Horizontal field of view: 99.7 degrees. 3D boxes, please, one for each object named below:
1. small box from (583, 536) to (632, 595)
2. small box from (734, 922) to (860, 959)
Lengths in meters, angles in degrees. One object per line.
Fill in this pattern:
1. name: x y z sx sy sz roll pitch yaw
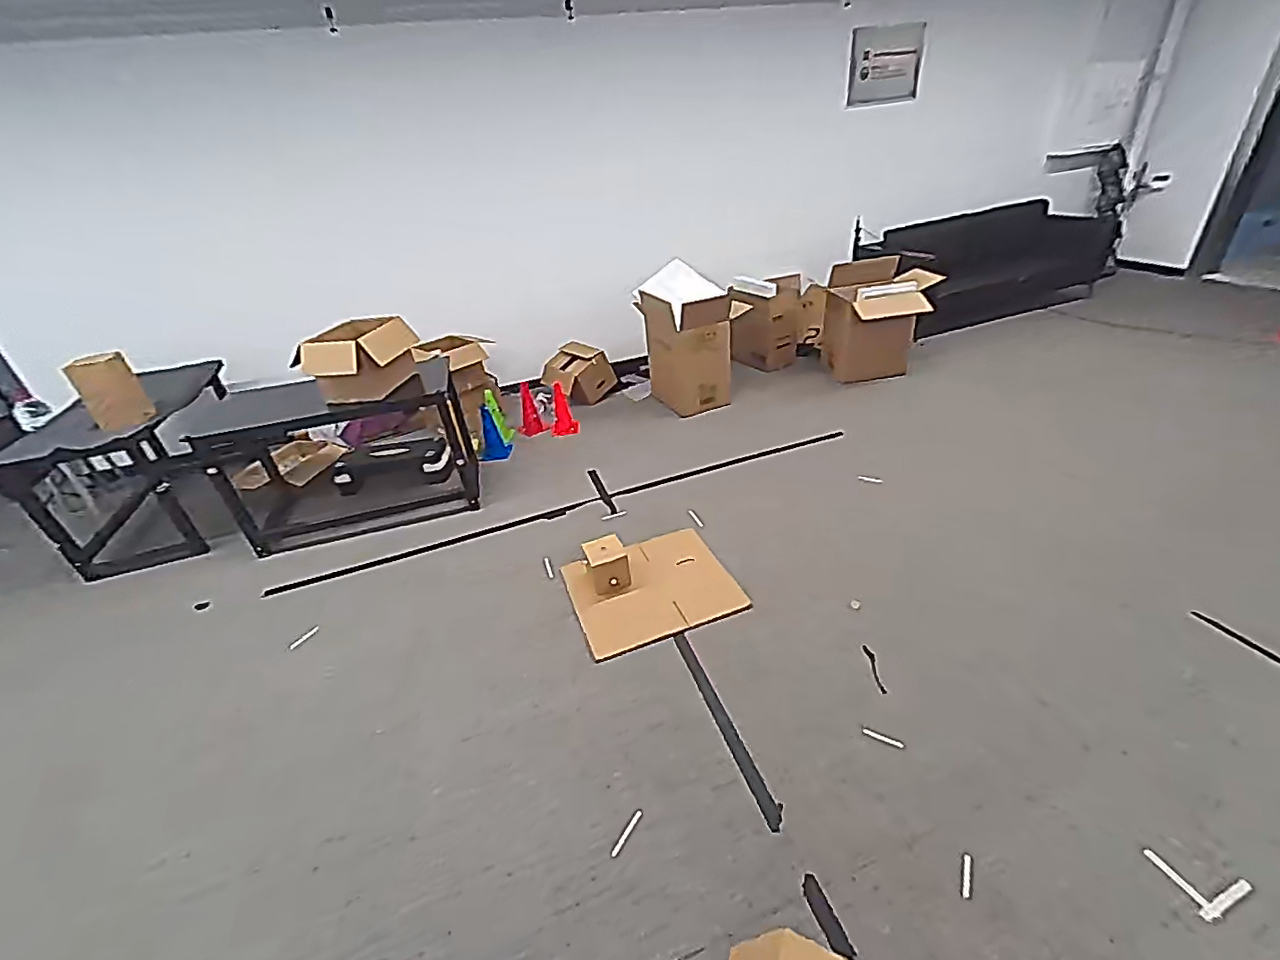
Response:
1. small box: -0.148 0.387 2.441 0.168 0.176 0.179 -17 33 -14
2. small box: 0.170 0.561 0.505 0.179 0.176 0.168 23 44 6
